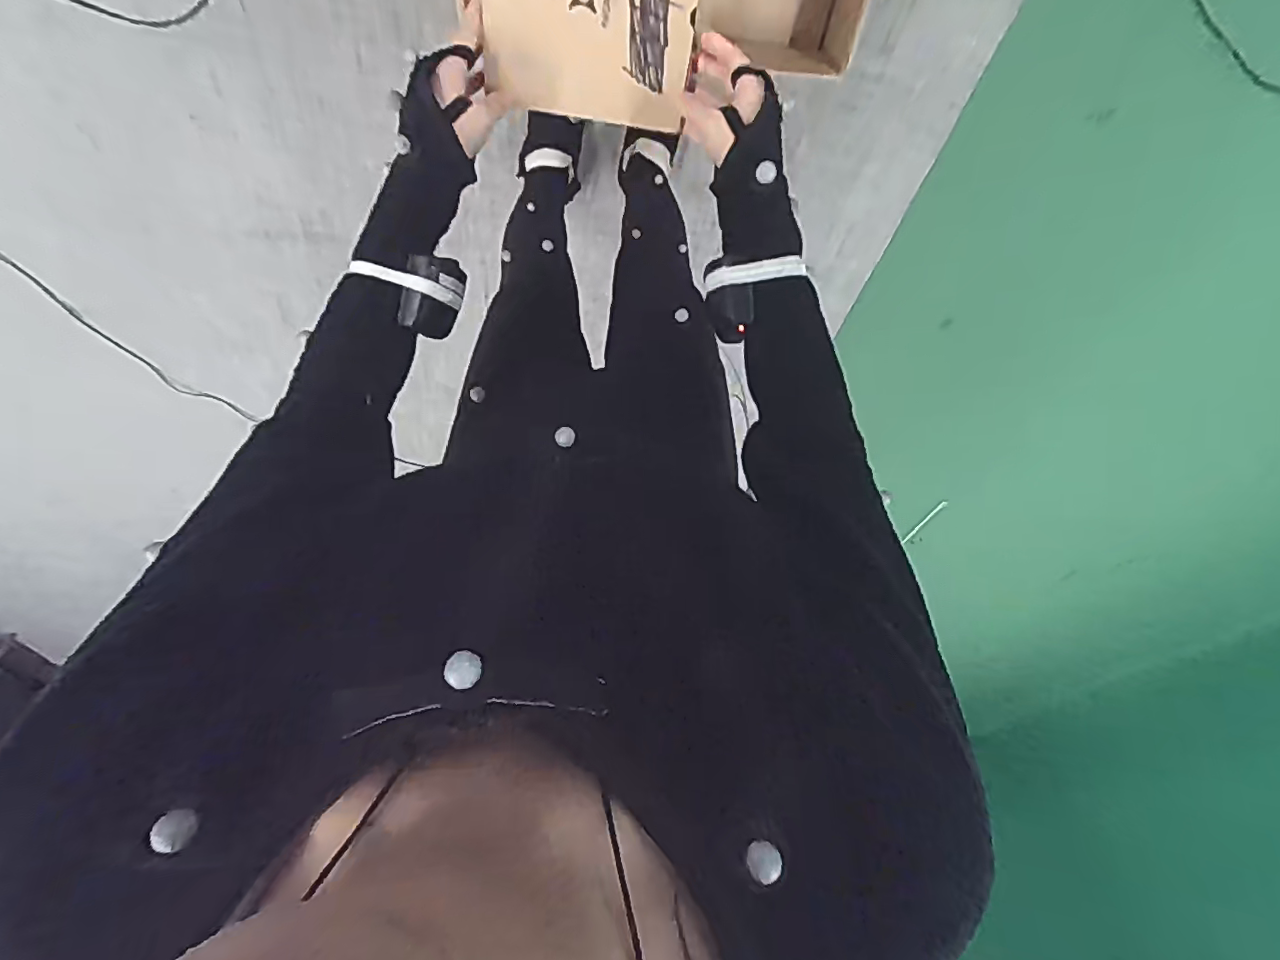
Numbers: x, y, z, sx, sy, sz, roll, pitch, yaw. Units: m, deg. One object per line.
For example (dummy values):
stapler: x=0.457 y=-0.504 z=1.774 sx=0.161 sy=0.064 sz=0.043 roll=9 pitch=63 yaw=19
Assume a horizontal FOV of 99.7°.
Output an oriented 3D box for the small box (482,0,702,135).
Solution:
small box: x=-0.045 y=-0.439 z=0.489 sx=0.179 sy=0.176 sz=0.168 roll=3 pitch=134 yaw=-10
